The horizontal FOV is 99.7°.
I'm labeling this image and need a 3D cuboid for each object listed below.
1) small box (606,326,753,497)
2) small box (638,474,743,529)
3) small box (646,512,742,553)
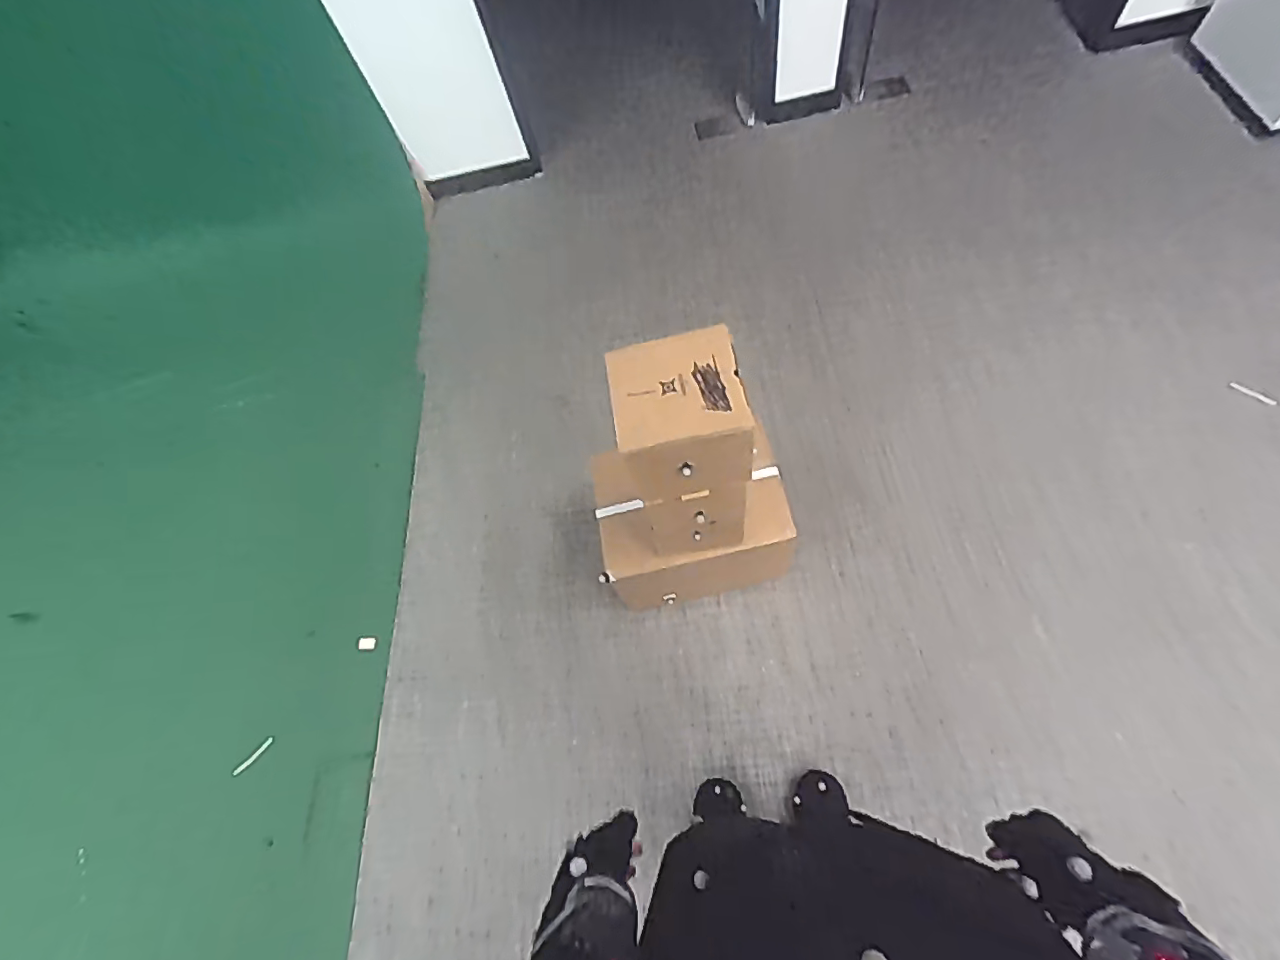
[{"bbox_3d":[0.059,-0.090,0.782,0.179,0.176,0.168,-11,65,6],"label":"small box"},{"bbox_3d":[0.081,-0.025,0.933,0.168,0.176,0.179,-12,66,5],"label":"small box"},{"bbox_3d":[0.104,0.038,1.082,0.179,0.176,0.168,-10,66,4],"label":"small box"}]
